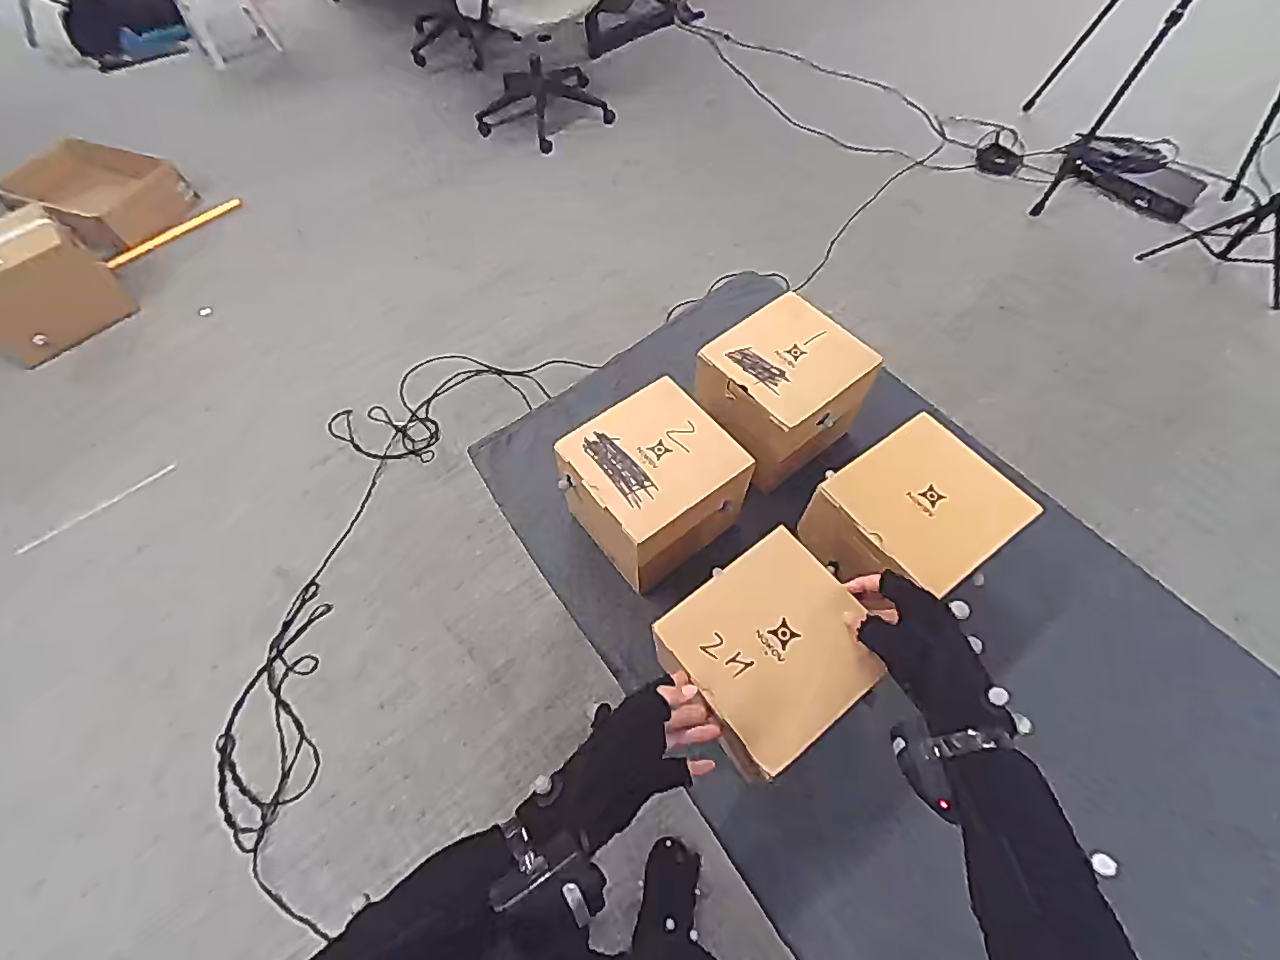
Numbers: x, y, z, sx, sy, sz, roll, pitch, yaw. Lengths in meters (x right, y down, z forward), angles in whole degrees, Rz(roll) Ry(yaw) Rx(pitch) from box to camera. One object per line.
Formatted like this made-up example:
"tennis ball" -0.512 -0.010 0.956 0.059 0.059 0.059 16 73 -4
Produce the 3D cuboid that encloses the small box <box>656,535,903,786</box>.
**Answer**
"small box" 0.133 0.195 0.577 0.179 0.176 0.168 -34 63 -14

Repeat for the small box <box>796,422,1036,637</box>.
"small box" 0.316 0.068 0.664 0.179 0.176 0.168 -33 65 -14

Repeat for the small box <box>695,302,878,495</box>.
"small box" 0.193 -0.109 0.768 0.179 0.176 0.168 -35 65 -17
